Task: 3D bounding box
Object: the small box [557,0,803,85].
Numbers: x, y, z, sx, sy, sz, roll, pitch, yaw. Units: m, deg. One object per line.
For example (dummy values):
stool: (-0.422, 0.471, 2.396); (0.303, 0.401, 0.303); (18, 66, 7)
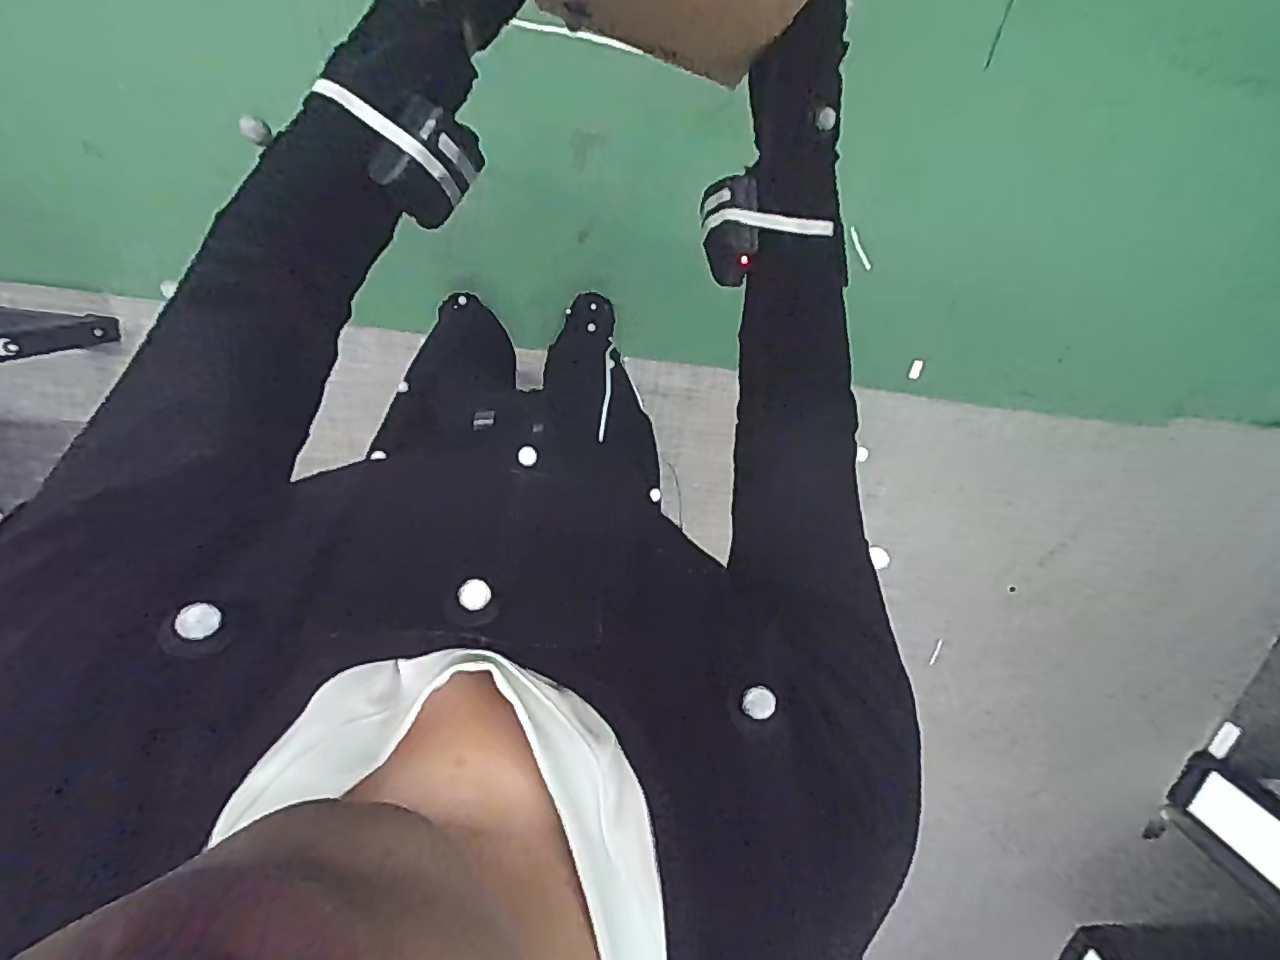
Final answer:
small box: (0.034, -0.389, 0.333); (0.168, 0.176, 0.179); (14, 107, -12)
